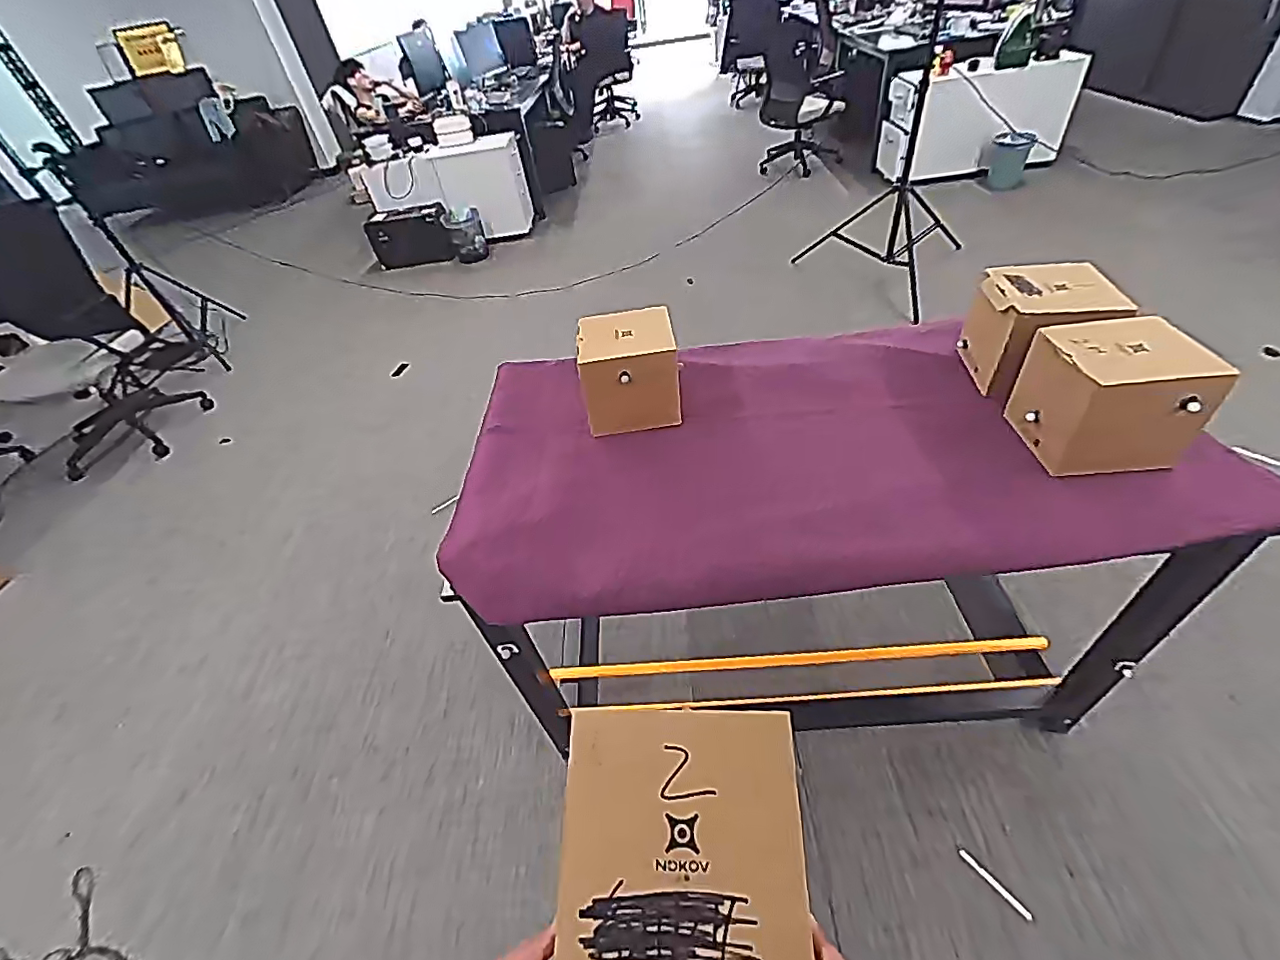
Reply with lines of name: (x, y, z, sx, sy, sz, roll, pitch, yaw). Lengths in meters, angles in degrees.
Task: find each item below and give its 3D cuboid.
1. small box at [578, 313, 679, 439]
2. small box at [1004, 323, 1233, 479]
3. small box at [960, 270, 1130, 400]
small box: (-0.019, -0.199, 1.045, 0.179, 0.176, 0.168, -8, 43, 2)
small box: (0.706, -0.118, 0.828, 0.179, 0.176, 0.168, -5, 42, 6)
small box: (0.704, -0.257, 0.972, 0.179, 0.176, 0.168, 0, 46, 8)
